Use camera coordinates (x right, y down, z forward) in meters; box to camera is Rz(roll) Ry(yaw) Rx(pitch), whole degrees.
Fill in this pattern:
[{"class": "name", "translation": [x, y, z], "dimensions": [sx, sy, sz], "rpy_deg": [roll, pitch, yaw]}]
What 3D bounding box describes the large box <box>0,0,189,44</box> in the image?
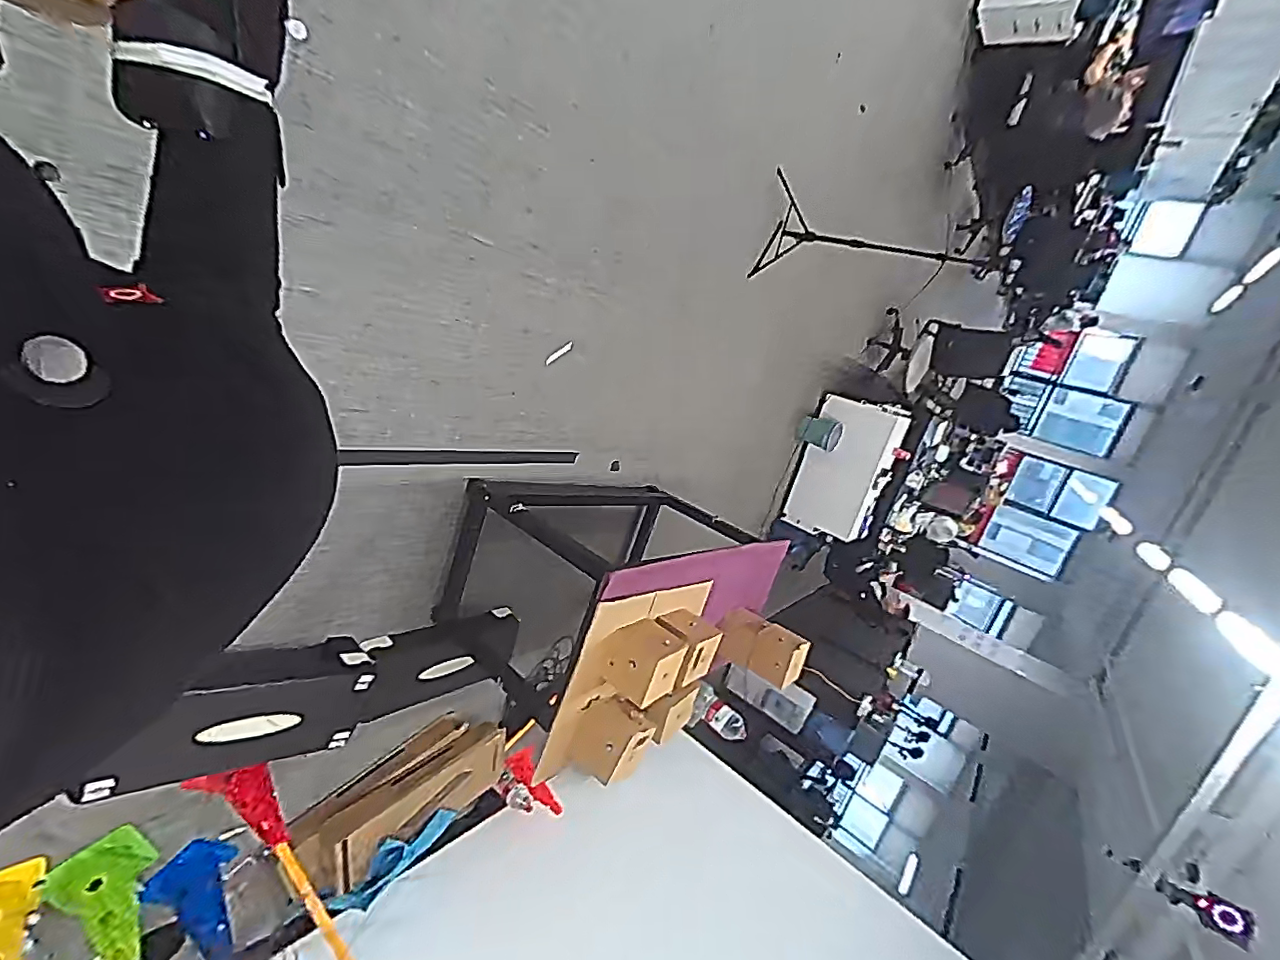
[{"class": "large box", "translation": [-0.490, -0.464, 0.222], "dimensions": [0.408, 0.320, 0.320], "rpy_deg": [-12, 127, -54]}]
